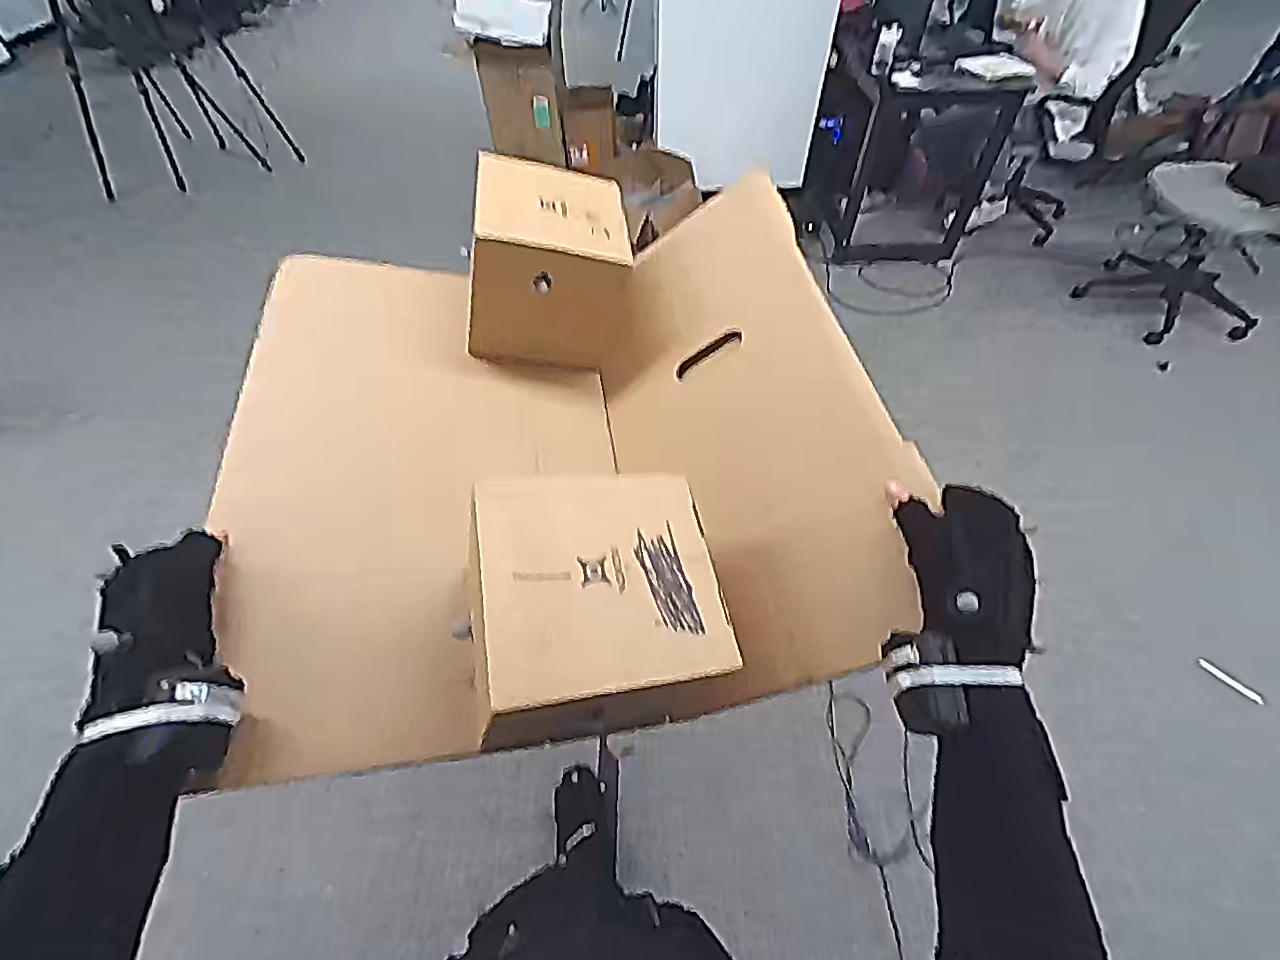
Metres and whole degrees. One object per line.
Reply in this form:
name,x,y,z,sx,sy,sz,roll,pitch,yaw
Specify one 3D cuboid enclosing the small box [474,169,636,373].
small box,-0.117,-0.258,0.696,0.179,0.176,0.168,5,55,-18
